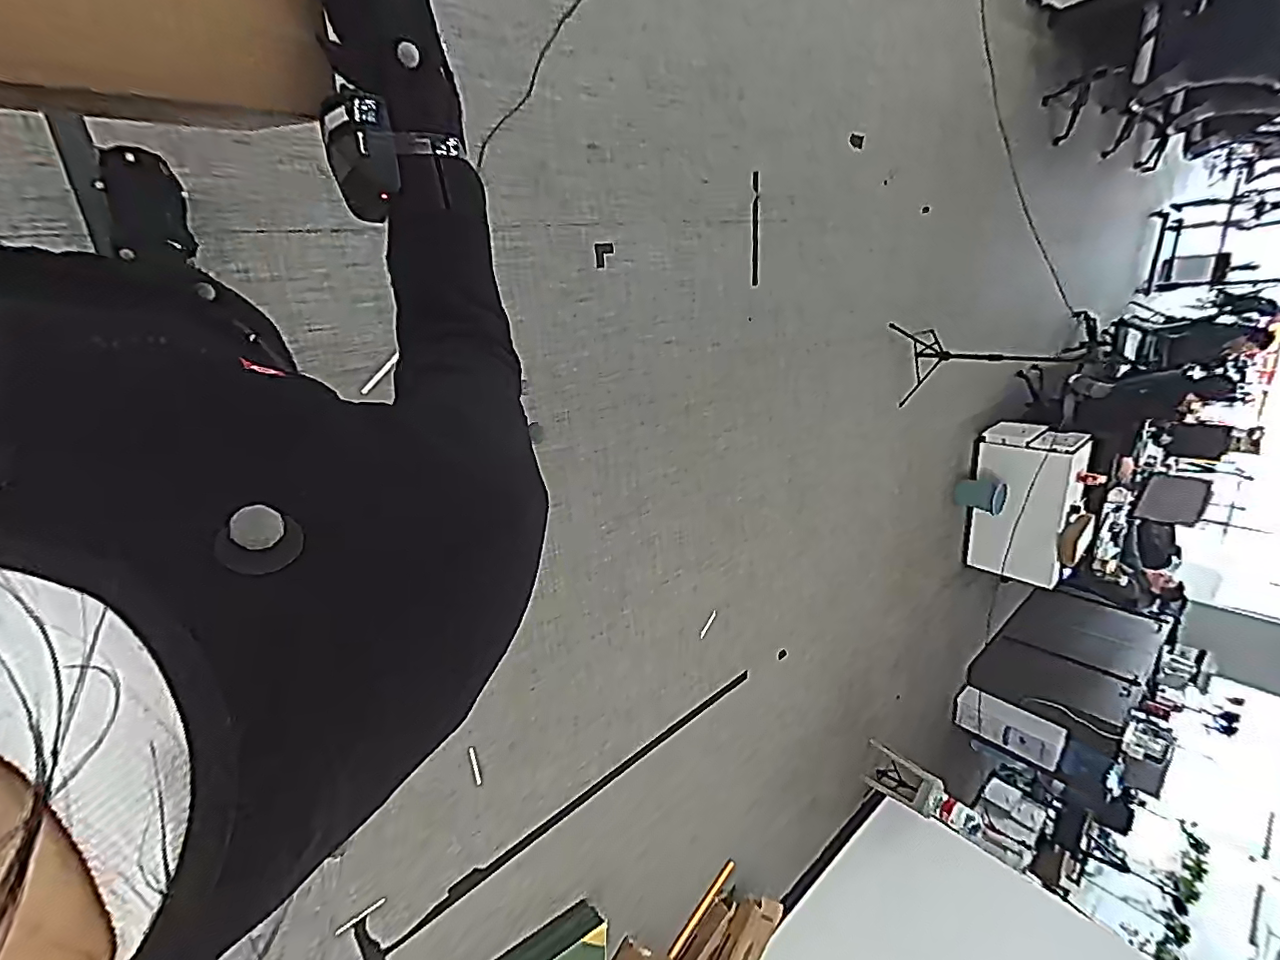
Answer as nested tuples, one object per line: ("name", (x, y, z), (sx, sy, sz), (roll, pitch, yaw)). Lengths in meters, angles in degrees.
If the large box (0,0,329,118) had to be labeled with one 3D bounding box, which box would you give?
("large box", (-0.455, -0.396, 0.284), (0.408, 0.320, 0.320), (-20, 128, -36))
